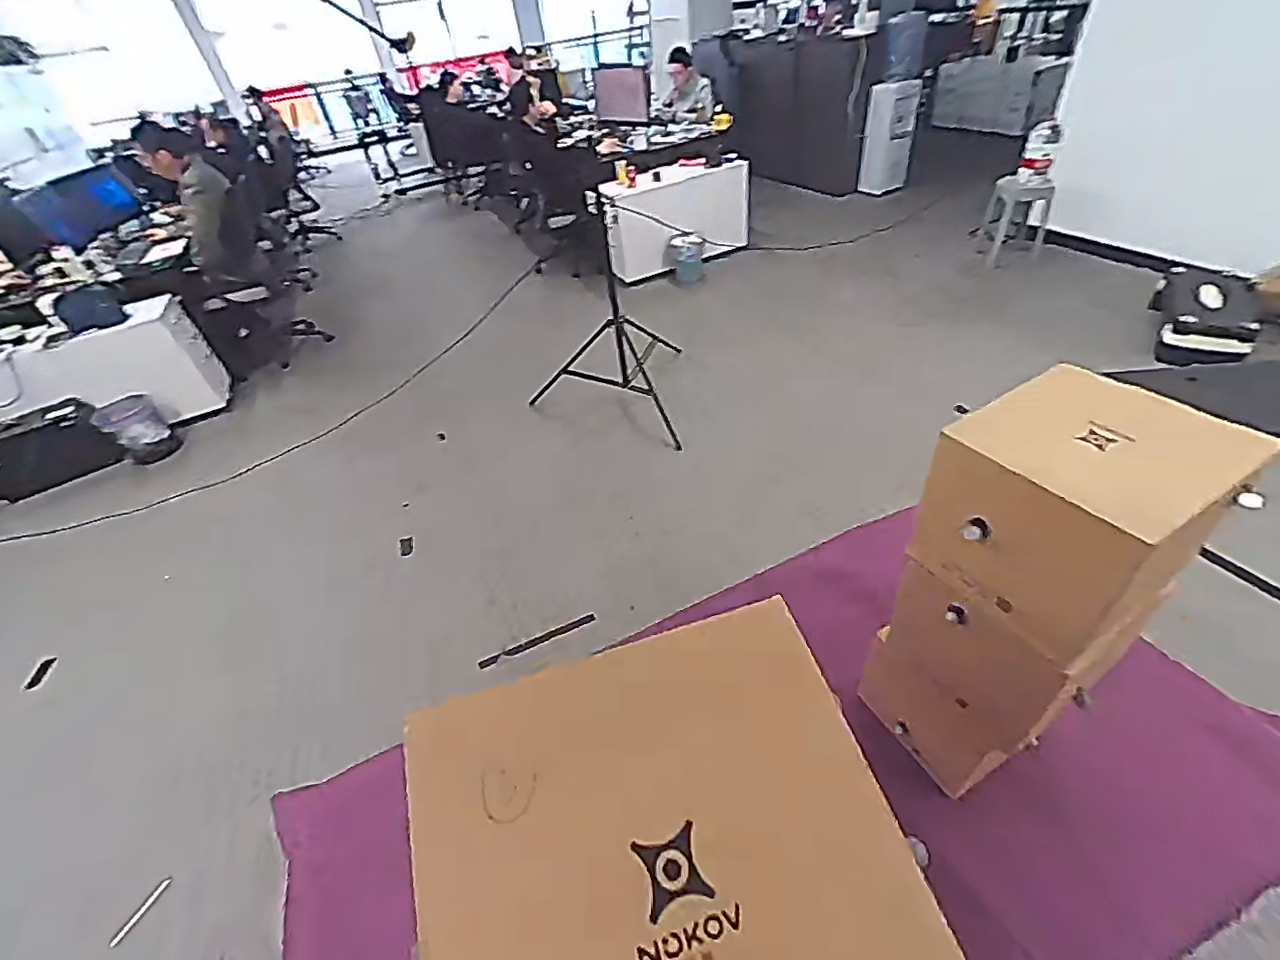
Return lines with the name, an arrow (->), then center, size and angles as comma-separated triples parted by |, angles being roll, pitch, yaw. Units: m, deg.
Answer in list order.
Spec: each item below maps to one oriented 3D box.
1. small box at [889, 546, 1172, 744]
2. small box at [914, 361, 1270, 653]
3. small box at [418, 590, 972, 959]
small box -> 0.406, 0.147, 0.596 | 0.179, 0.176, 0.168 | -26, 43, -18
small box -> 0.381, 0.022, 0.495 | 0.179, 0.176, 0.168 | -26, 44, -17
small box -> 0.012, 0.180, 0.248 | 0.168, 0.176, 0.179 | -14, 57, -10
